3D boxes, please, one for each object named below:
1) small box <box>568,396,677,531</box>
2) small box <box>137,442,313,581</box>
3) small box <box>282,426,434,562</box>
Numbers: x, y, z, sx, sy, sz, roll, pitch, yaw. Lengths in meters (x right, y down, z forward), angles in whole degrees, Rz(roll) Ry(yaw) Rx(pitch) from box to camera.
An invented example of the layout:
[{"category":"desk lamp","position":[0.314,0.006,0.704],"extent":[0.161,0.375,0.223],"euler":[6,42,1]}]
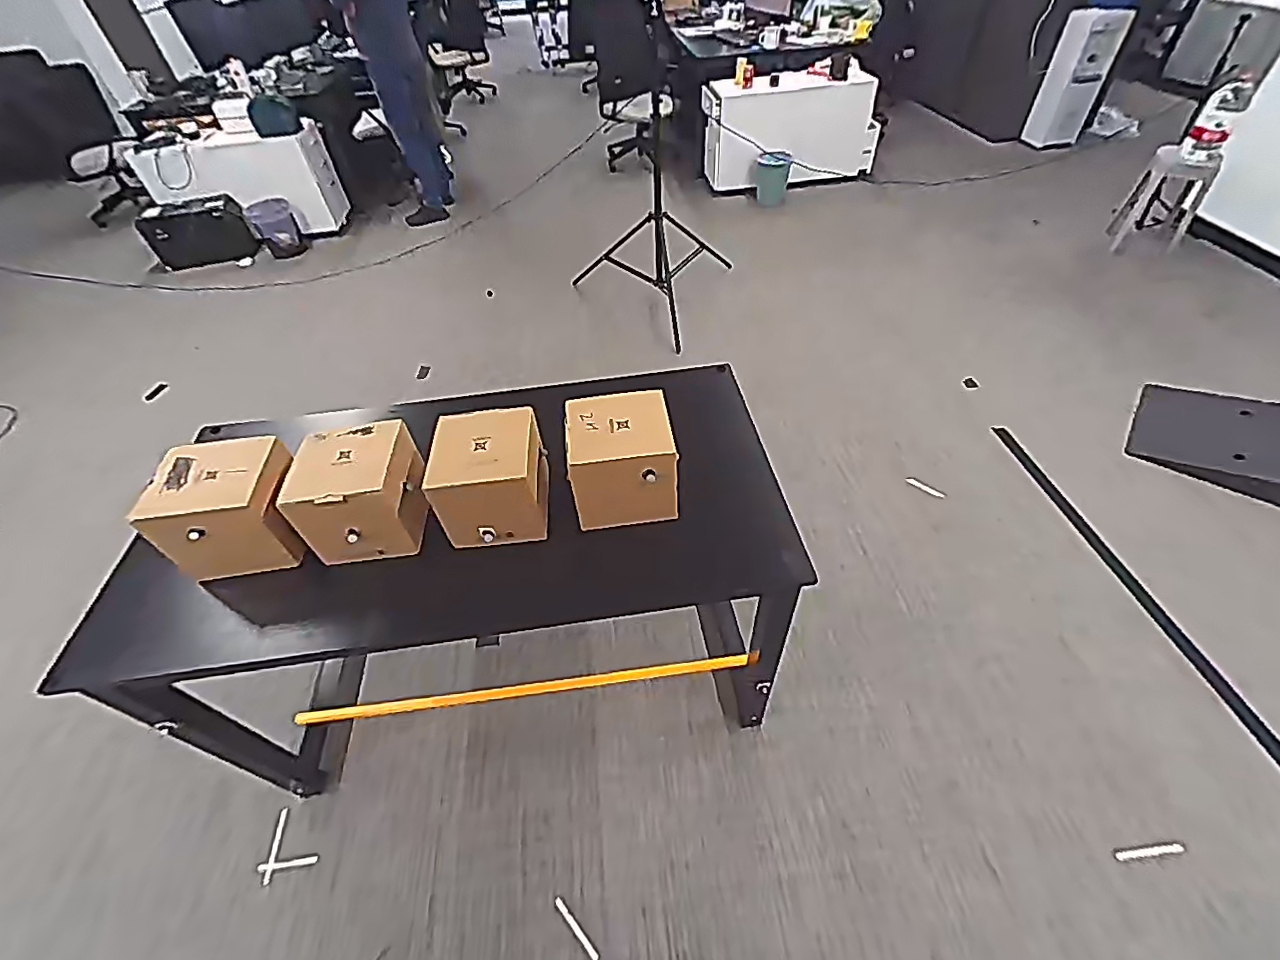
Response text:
[{"category":"small box","position":[-0.032,-0.027,0.970],"extent":[0.179,0.176,0.168],"euler":[-7,46,-2]},{"category":"small box","position":[-0.693,0.059,0.943],"extent":[0.179,0.176,0.168],"euler":[-8,47,-5]},{"category":"small box","position":[-0.480,0.031,0.954],"extent":[0.168,0.176,0.179],"euler":[-7,47,-2]}]
